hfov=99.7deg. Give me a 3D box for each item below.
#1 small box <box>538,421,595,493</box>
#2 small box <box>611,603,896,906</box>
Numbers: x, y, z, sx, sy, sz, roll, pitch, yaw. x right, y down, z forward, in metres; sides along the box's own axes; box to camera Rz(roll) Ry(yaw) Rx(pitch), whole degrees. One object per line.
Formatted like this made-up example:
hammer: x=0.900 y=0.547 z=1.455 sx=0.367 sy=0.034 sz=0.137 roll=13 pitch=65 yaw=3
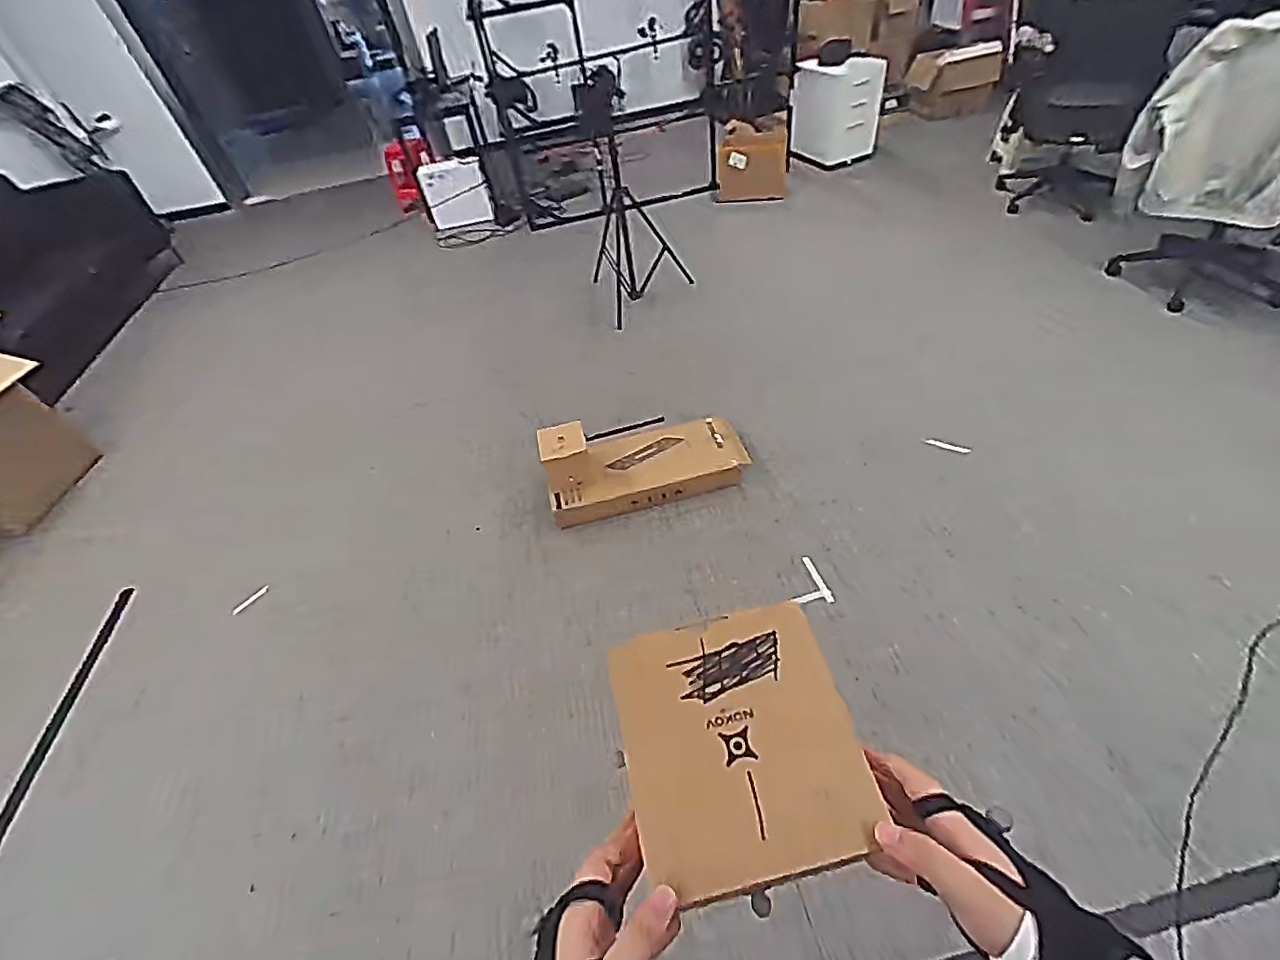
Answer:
small box: x=-0.267 y=-0.083 z=1.969 sx=0.168 sy=0.176 sz=0.179 roll=-15 pitch=46 yaw=-4
small box: x=0.076 y=0.233 z=0.456 sx=0.168 sy=0.176 sz=0.179 roll=-13 pitch=51 yaw=-3
